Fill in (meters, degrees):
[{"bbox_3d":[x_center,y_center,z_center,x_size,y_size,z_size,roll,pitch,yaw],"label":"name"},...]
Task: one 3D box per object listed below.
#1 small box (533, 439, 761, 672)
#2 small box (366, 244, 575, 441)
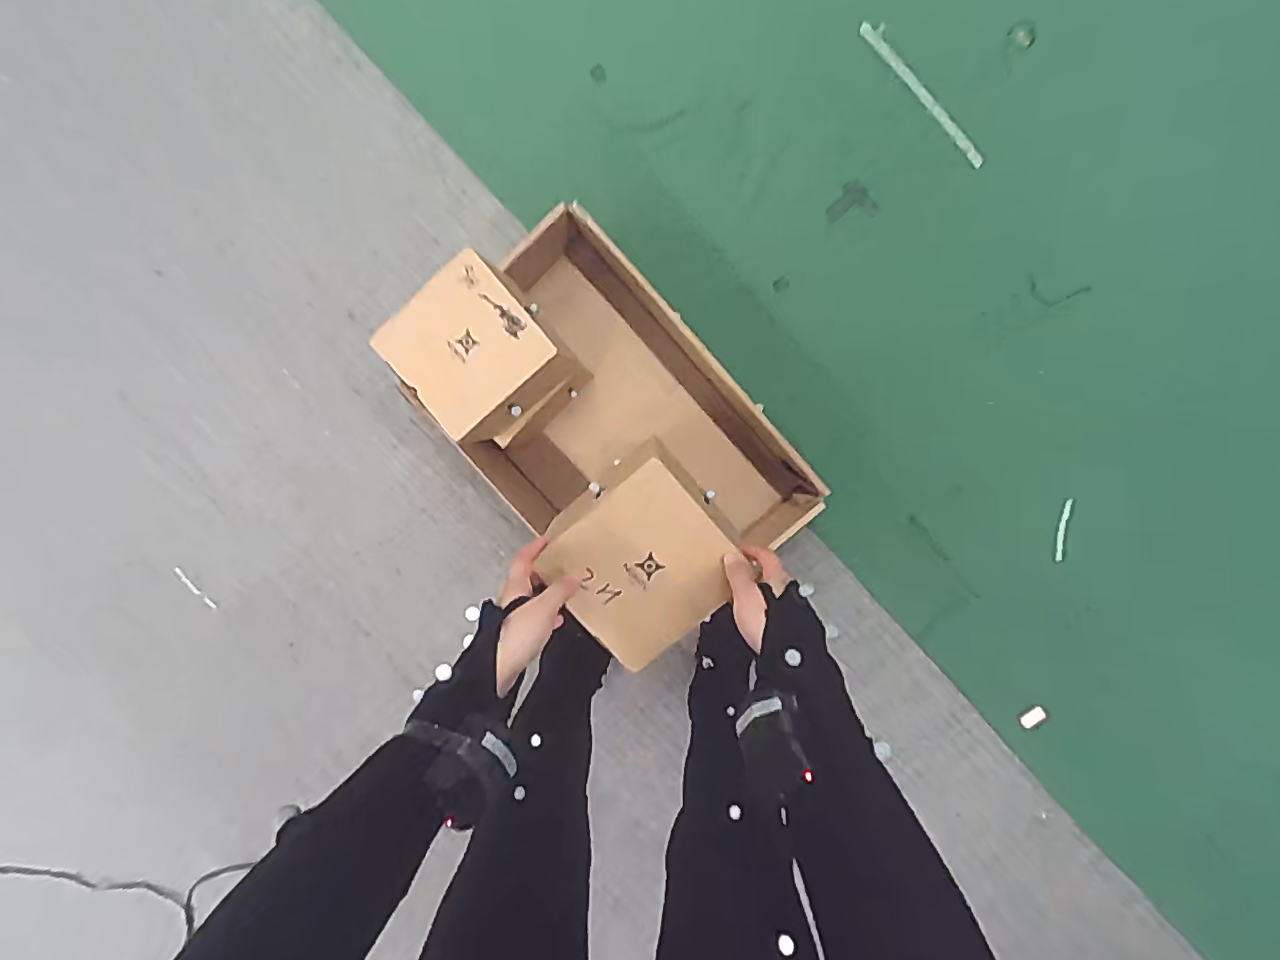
[{"bbox_3d":[0.007,0.072,0.622,0.179,0.176,0.168,-40,99,10],"label":"small box"},{"bbox_3d":[-0.209,-0.170,0.720,0.179,0.176,0.168,-40,94,8],"label":"small box"}]
